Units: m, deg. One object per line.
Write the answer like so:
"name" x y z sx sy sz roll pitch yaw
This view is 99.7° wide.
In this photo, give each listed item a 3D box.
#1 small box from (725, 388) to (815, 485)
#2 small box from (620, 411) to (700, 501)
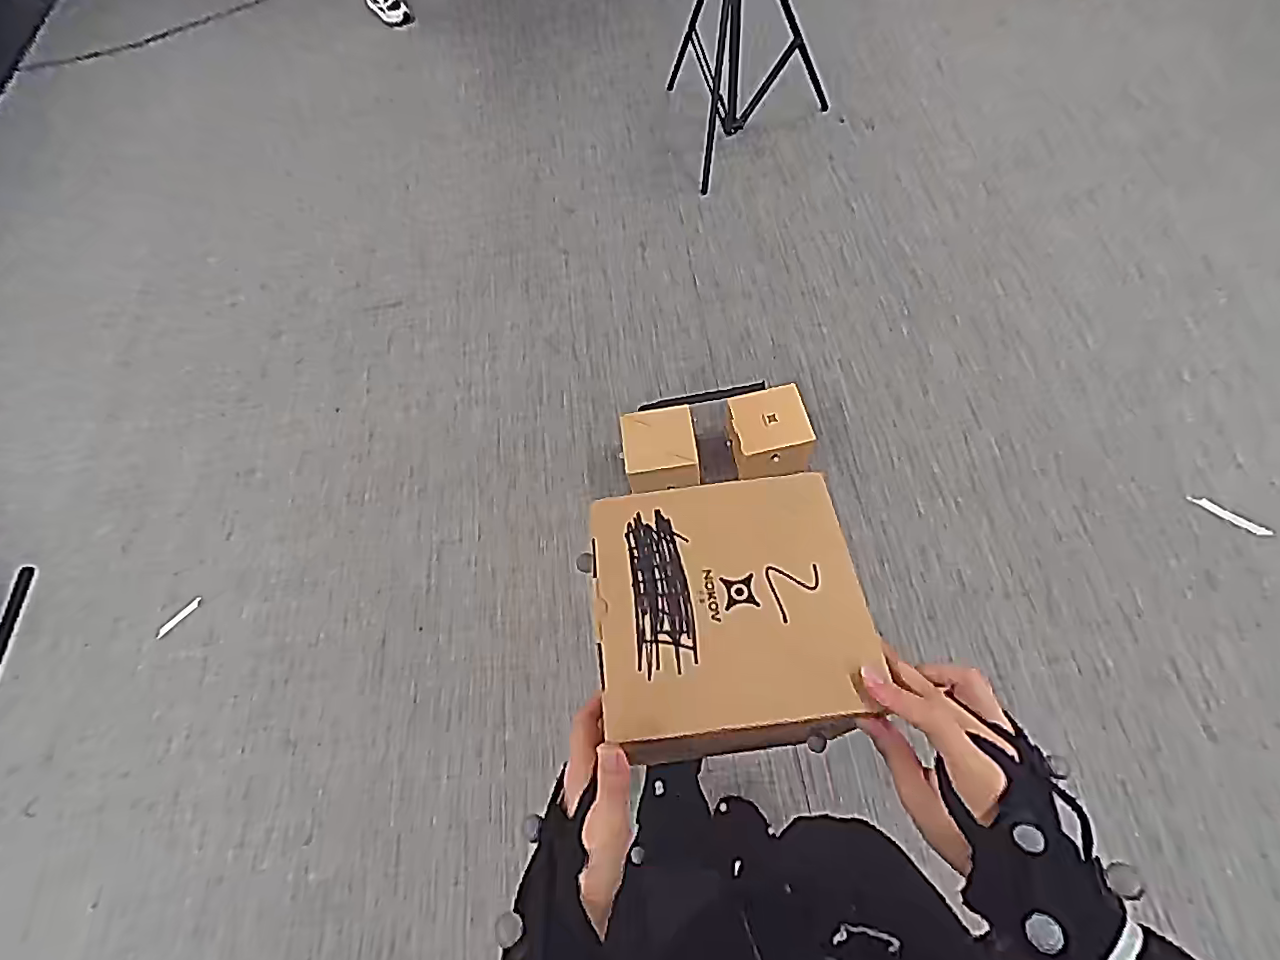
"small box" 0.320 -0.105 1.373 0.179 0.176 0.168 -13 65 1
"small box" 0.054 -0.061 1.383 0.179 0.176 0.168 -8 65 3
